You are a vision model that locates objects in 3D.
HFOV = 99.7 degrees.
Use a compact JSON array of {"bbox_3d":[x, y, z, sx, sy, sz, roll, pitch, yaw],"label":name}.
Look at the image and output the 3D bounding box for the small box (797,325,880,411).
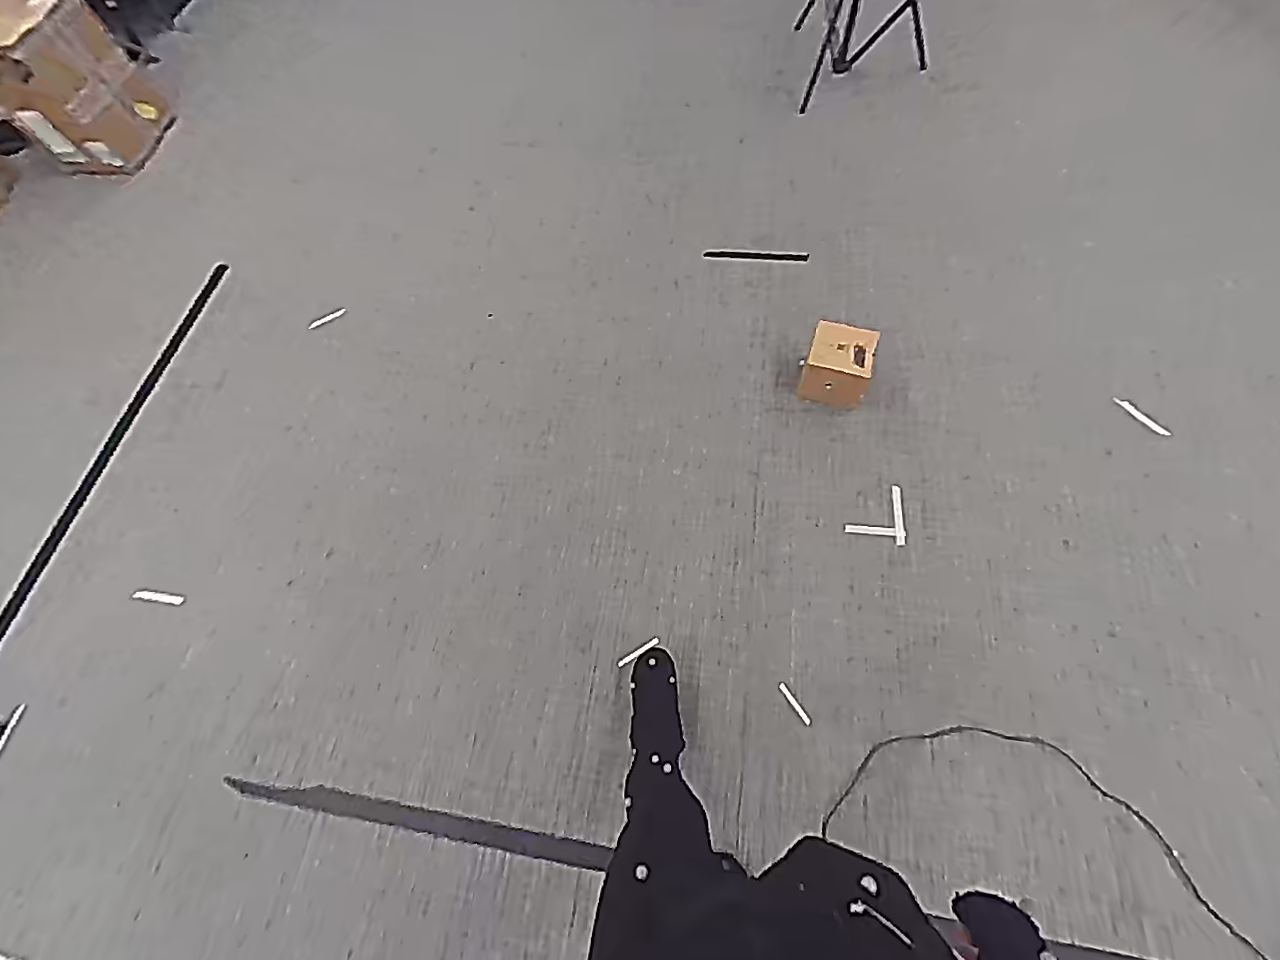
[{"bbox_3d":[0.583,-0.326,1.600,0.179,0.176,0.168,16,67,12],"label":"small box"}]
